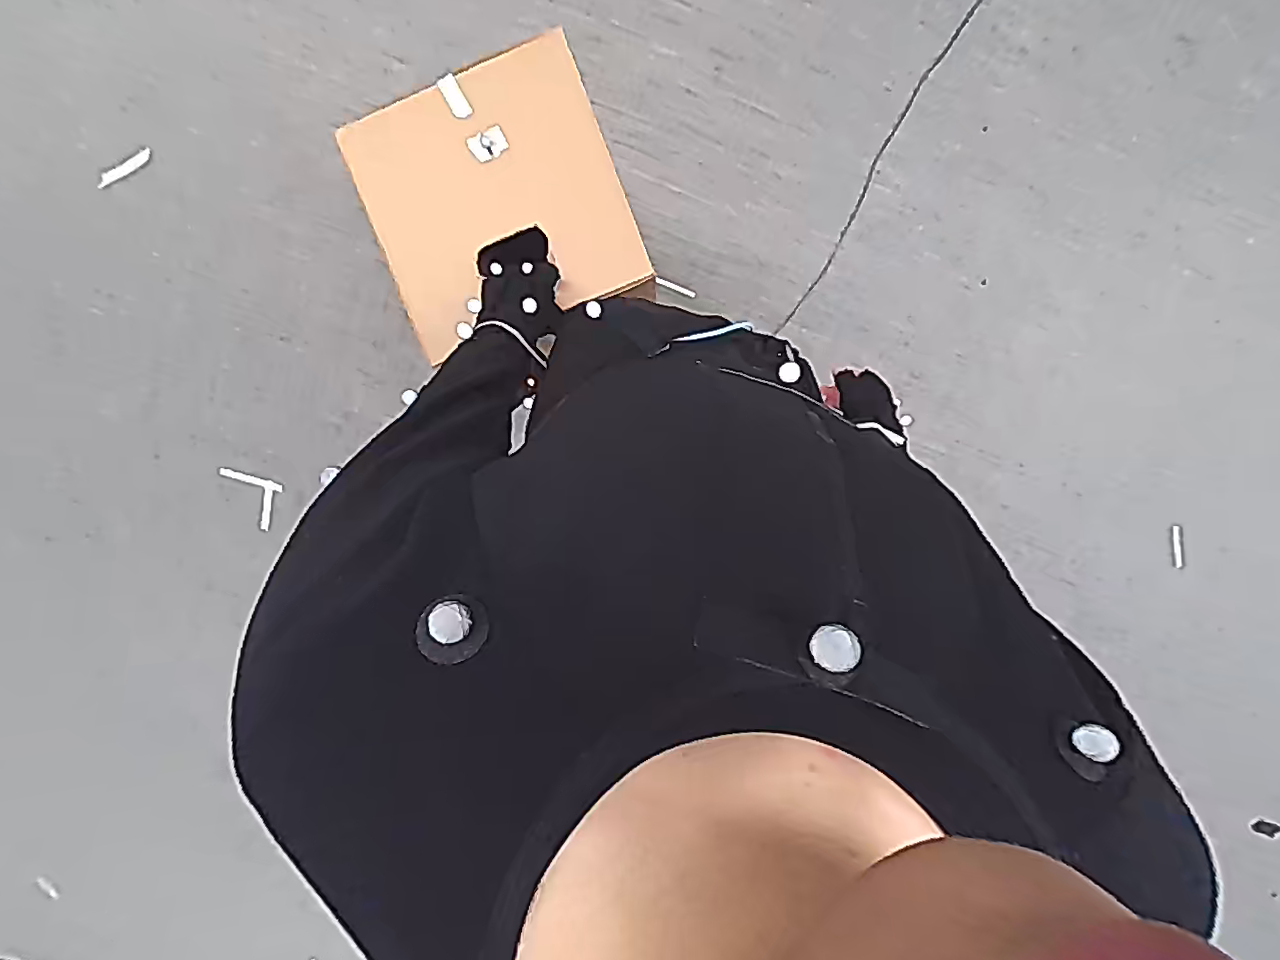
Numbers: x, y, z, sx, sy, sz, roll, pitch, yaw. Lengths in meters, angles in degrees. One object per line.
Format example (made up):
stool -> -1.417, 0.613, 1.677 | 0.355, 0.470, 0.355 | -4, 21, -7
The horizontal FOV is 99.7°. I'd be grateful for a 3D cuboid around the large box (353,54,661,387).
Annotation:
large box -> -0.166, -0.359, 0.878 | 0.320, 0.408, 0.320 | -20, 95, 5
